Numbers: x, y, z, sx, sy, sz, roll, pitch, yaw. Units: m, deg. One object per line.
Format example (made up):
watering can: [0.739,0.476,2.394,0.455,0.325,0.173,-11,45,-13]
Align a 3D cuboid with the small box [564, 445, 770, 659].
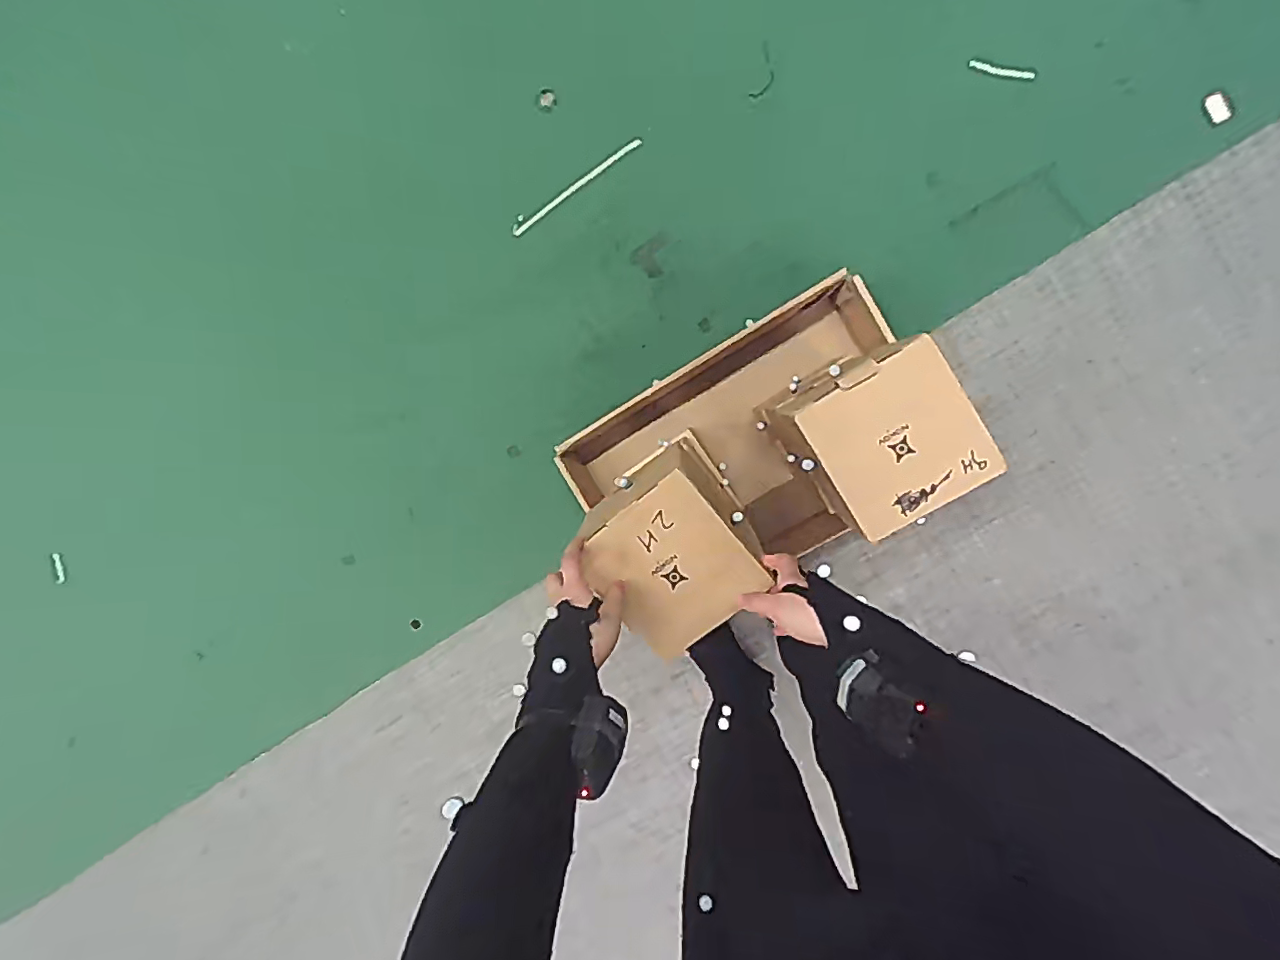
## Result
small box: [0.035,0.077,0.675,0.168,0.176,0.179,-39,98,11]

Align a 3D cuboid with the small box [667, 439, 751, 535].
small box: [0.053,0.048,0.870,0.168,0.176,0.179,-38,94,9]

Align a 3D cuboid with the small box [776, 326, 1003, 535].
small box: [0.285,-0.059,0.664,0.168,0.176,0.179,-32,92,10]

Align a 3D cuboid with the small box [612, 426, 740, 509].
small box: [0.069,0.013,1.031,0.168,0.176,0.179,-35,93,9]

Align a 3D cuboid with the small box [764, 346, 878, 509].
small box: [0.305,-0.081,0.827,0.168,0.176,0.179,-29,95,11]
